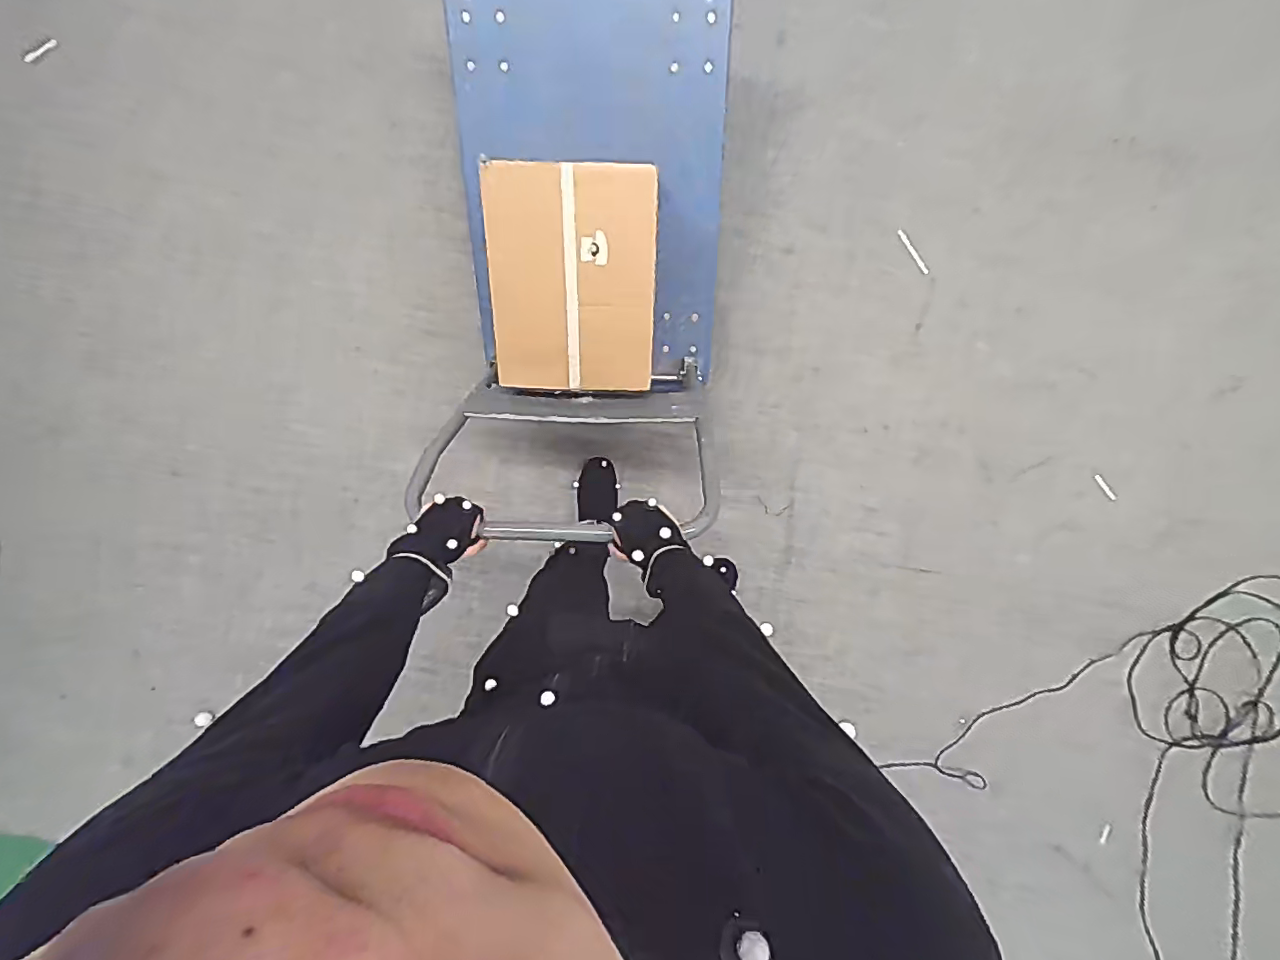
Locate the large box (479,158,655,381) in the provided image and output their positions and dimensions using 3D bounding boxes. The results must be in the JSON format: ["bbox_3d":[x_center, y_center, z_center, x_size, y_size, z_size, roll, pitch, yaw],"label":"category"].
[{"bbox_3d":[-0.126,-0.445,1.165,0.320,0.320,0.408,1,115,1],"label":"large box"}]
